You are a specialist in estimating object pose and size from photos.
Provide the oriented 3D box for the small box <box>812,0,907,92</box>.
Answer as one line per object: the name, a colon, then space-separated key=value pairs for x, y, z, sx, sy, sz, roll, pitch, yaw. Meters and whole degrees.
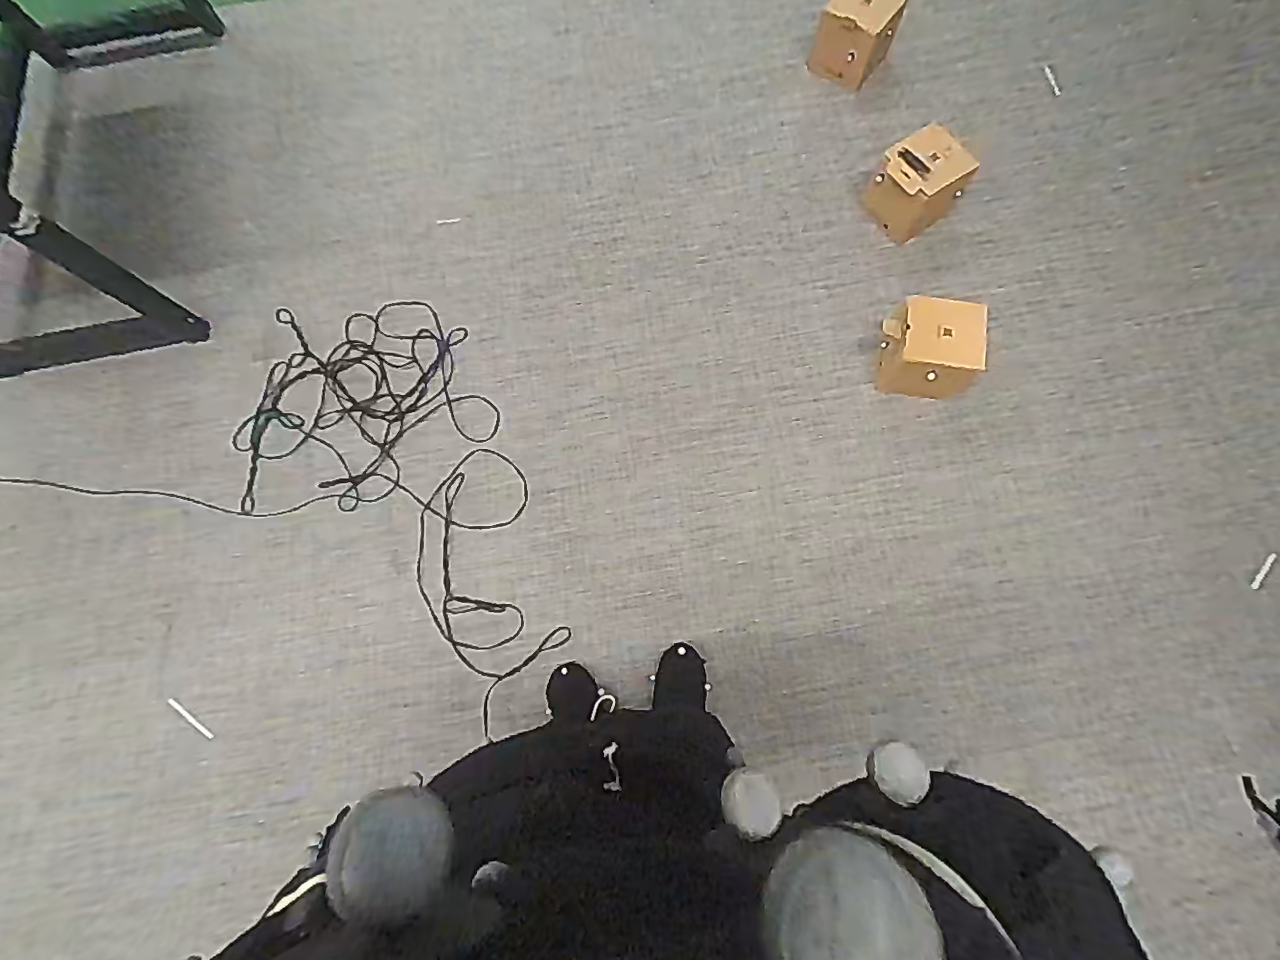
small box: x=0.609 y=-1.255 z=1.530 sx=0.168 sy=0.176 sz=0.179 roll=36 pitch=78 yaw=10

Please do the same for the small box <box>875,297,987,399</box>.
small box: x=0.679 y=-0.303 z=1.272 sx=0.179 sy=0.176 sz=0.168 roll=9 pitch=76 yaw=6
